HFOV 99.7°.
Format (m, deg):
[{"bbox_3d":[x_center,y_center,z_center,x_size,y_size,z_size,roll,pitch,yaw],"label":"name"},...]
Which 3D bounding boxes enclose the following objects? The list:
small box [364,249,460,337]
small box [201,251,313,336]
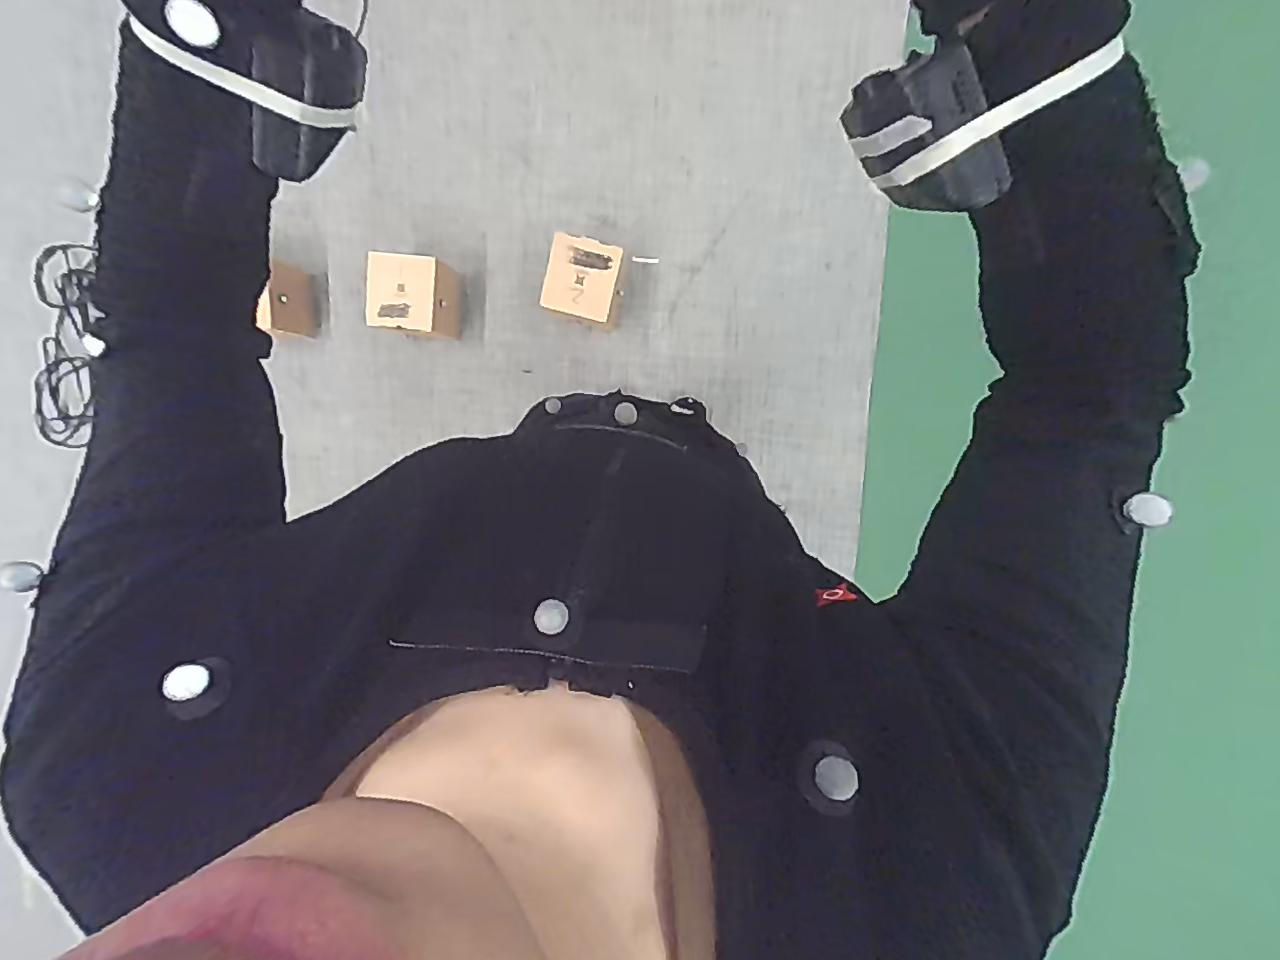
[{"bbox_3d":[-0.568,-0.462,1.362,0.168,0.176,0.179,7,97,2],"label":"small box"},{"bbox_3d":[-0.970,-0.471,1.383,0.168,0.176,0.179,2,98,3],"label":"small box"}]
